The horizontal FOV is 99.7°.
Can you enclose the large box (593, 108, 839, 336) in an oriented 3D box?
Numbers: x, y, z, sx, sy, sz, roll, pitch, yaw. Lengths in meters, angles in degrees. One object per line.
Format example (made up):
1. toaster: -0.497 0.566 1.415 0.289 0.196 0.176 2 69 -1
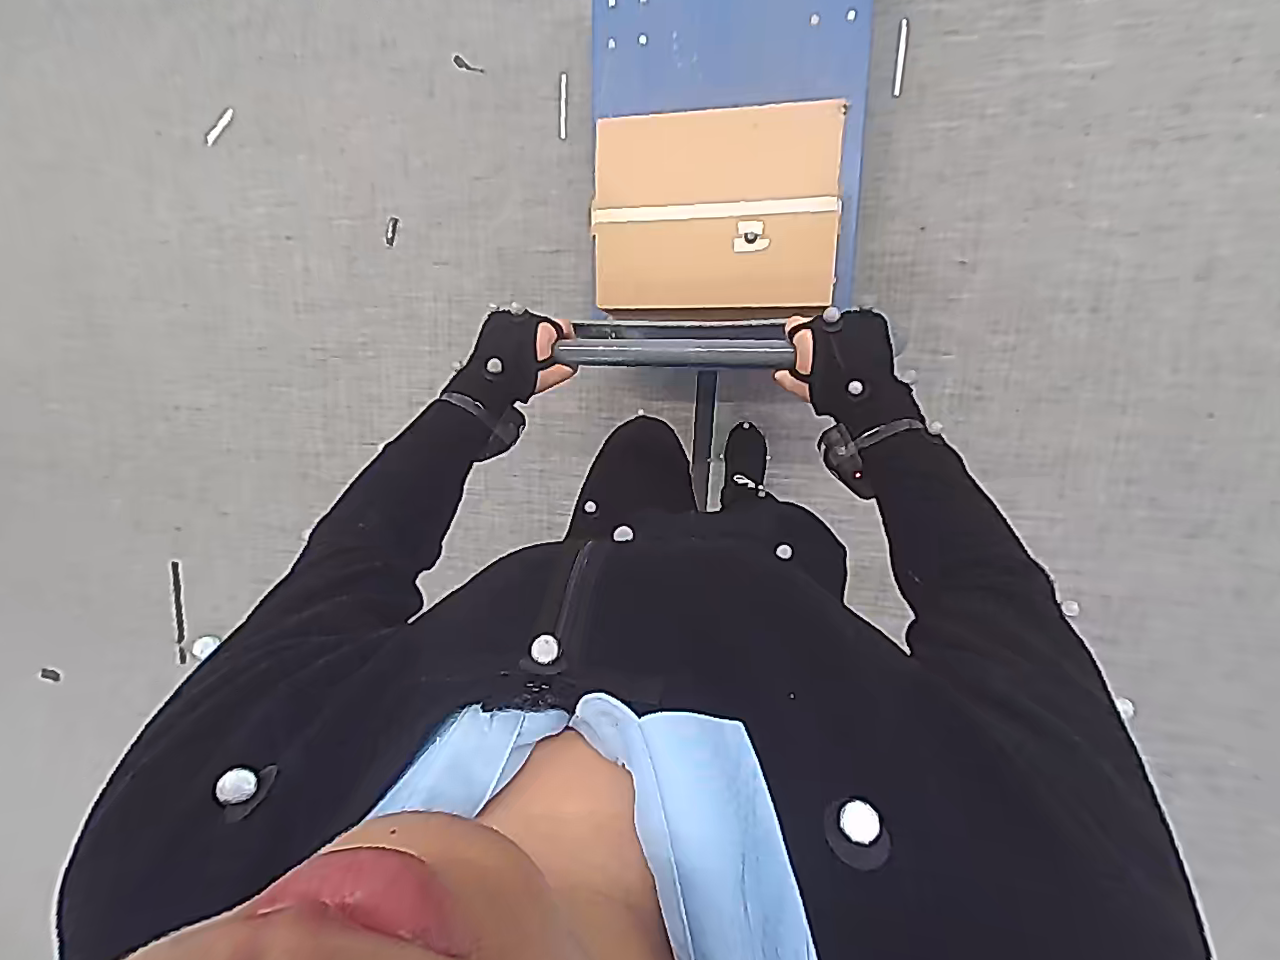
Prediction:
1. large box: 0.142 -0.456 1.044 0.408 0.320 0.320 2 100 11
